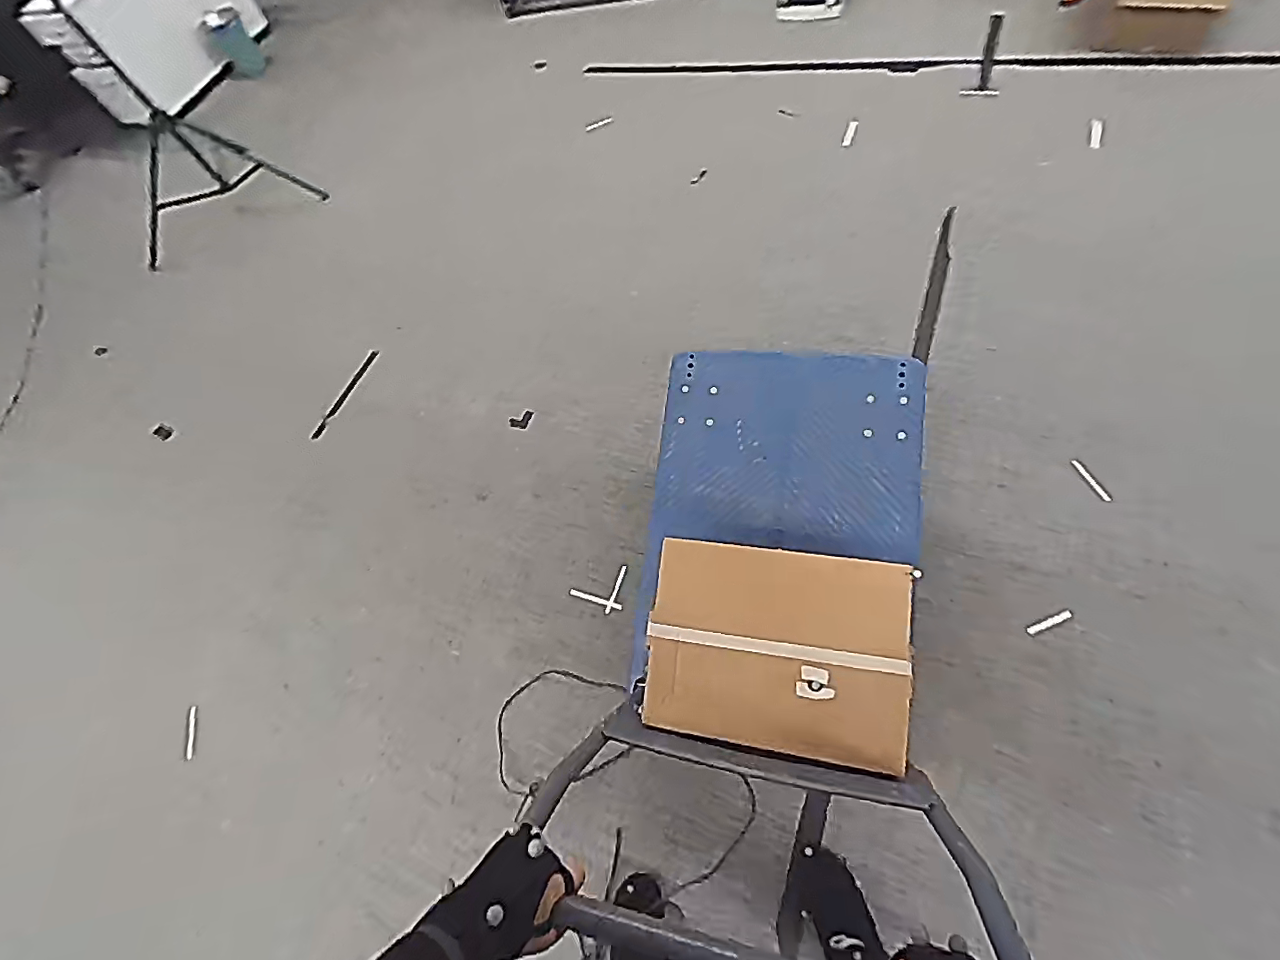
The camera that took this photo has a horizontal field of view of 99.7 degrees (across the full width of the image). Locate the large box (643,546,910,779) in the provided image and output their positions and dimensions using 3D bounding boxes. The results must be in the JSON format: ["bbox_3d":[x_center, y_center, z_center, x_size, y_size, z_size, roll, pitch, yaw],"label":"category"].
[{"bbox_3d":[0.242,0.307,1.002,0.408,0.320,0.320,5,80,13],"label":"large box"}]
